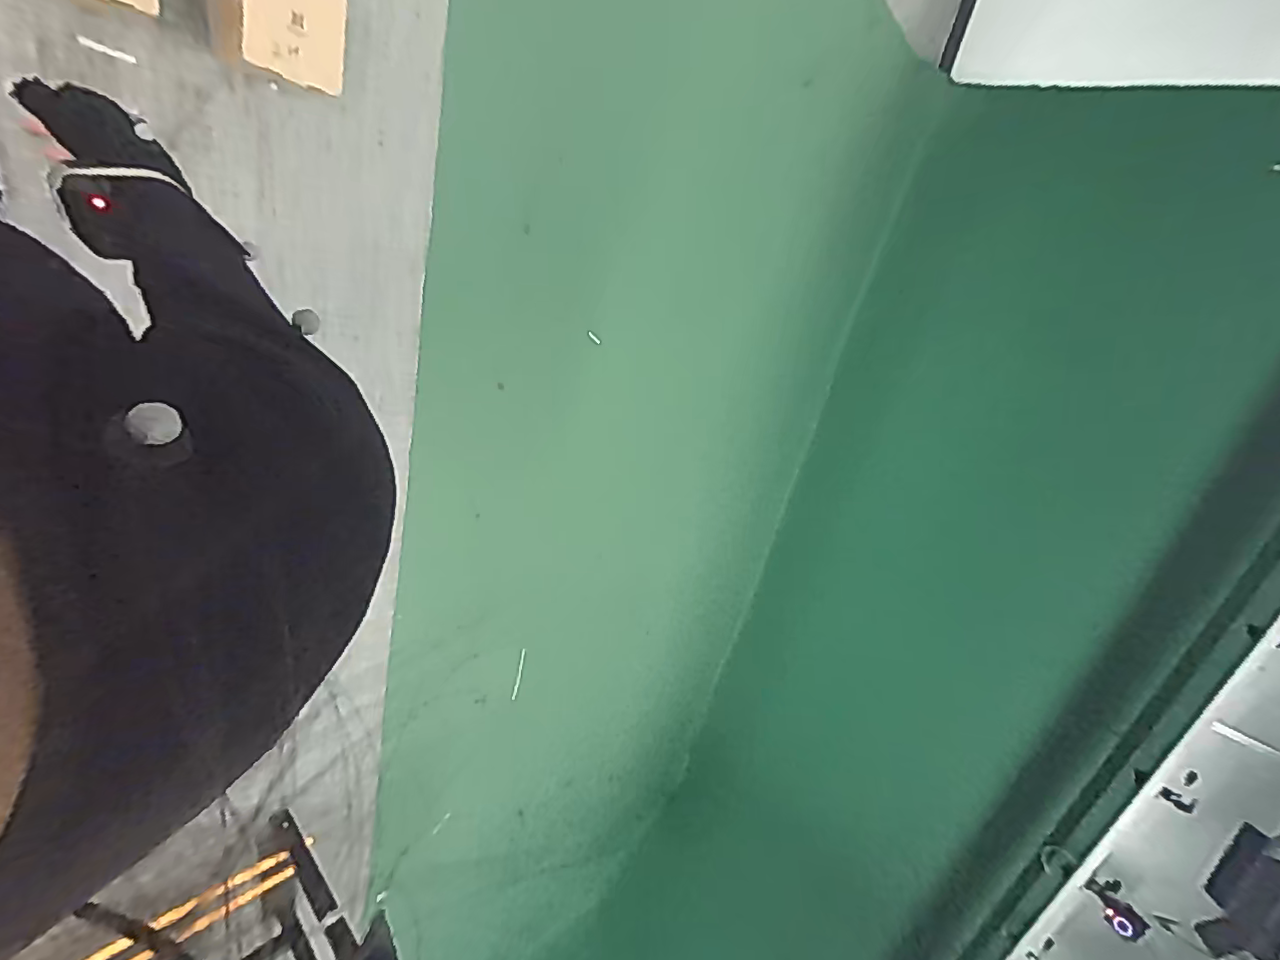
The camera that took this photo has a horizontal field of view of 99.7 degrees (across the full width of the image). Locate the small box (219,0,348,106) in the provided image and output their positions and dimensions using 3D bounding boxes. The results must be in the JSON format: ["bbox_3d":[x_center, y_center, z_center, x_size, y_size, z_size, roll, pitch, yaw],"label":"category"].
[{"bbox_3d":[-0.682,-0.847,1.032,0.168,0.176,0.179,-9,121,-49],"label":"small box"}]
